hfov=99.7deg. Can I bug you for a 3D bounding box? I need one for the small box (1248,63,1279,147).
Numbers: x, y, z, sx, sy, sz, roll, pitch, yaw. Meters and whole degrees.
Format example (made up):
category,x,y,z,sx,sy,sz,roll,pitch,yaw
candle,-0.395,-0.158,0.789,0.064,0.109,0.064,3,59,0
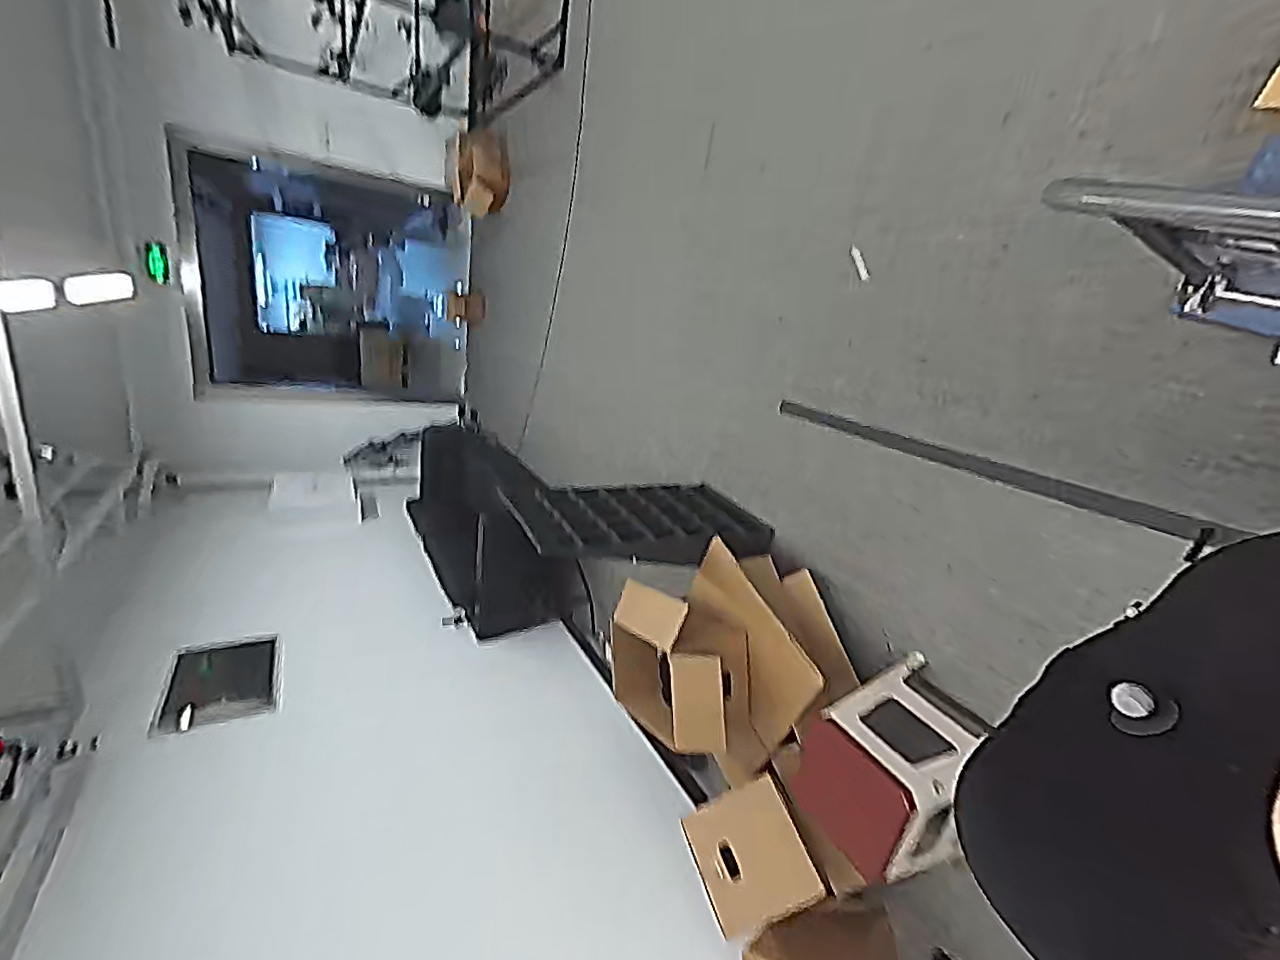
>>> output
category,x,y,z,sx,sy,sz,roll,pitch,yaw
small box,1.031,-0.570,0.750,0.179,0.176,0.168,47,130,45
